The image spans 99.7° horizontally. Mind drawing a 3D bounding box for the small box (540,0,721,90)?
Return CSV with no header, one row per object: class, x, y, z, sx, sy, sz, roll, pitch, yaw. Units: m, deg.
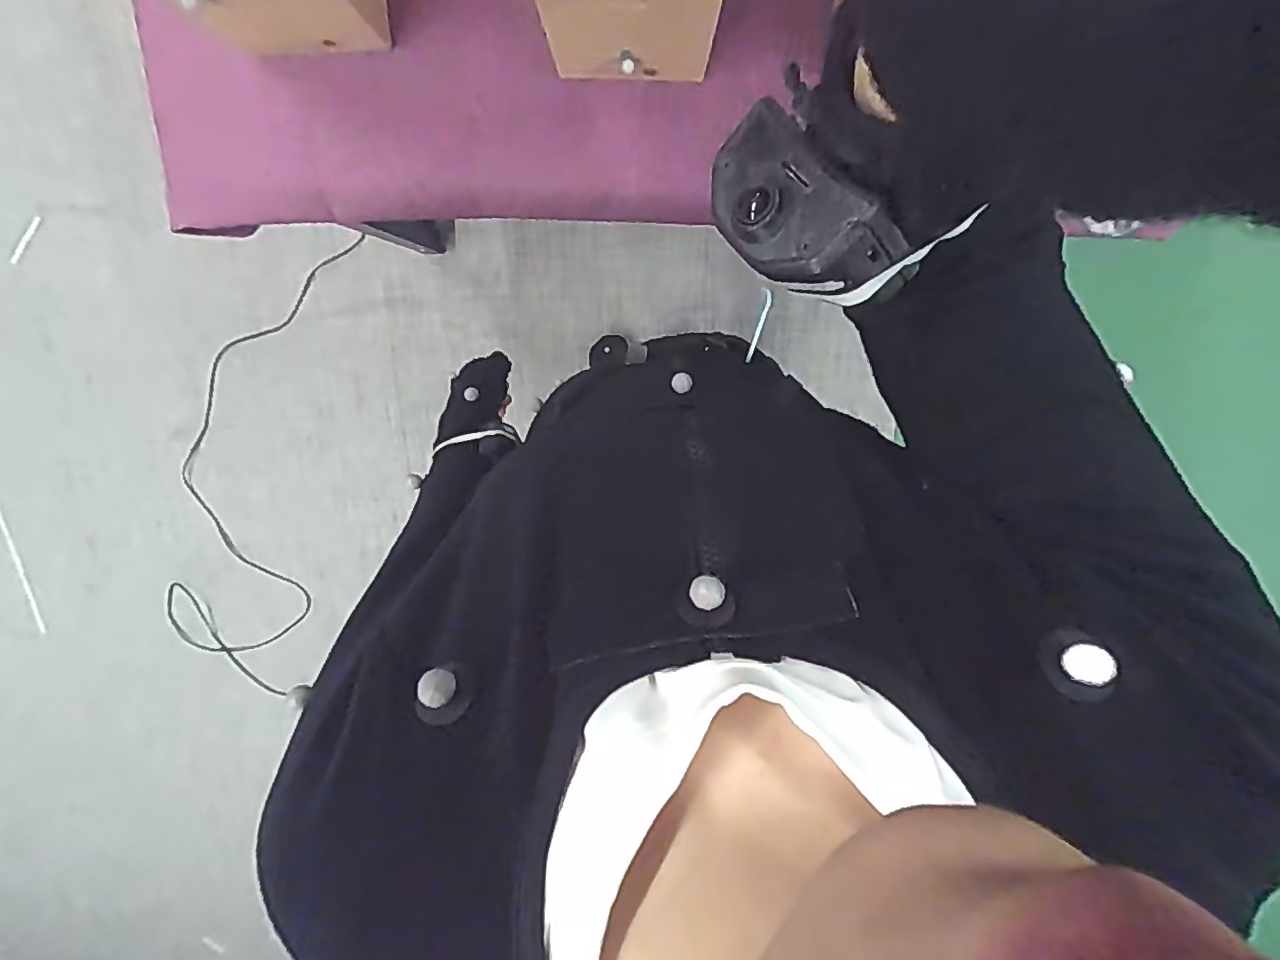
small box,-0.008,-0.511,0.514,0.168,0.176,0.179,2,105,0
